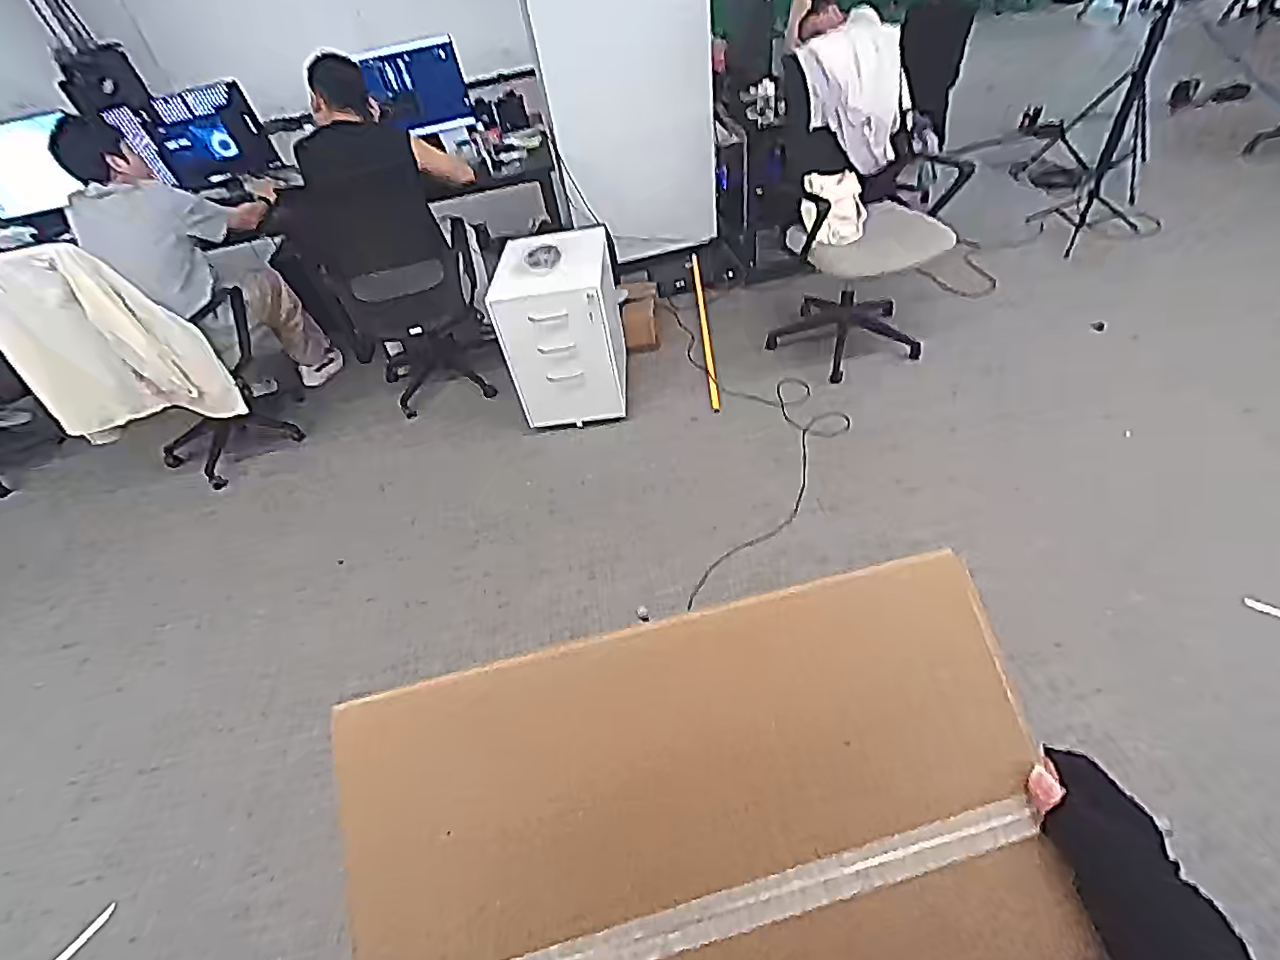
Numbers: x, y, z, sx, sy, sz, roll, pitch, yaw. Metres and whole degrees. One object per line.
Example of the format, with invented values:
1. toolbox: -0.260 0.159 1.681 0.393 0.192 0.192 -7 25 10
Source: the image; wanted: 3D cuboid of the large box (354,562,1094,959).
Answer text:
1. large box: 0.047 0.282 0.460 0.408 0.320 0.320 -13 75 -7
